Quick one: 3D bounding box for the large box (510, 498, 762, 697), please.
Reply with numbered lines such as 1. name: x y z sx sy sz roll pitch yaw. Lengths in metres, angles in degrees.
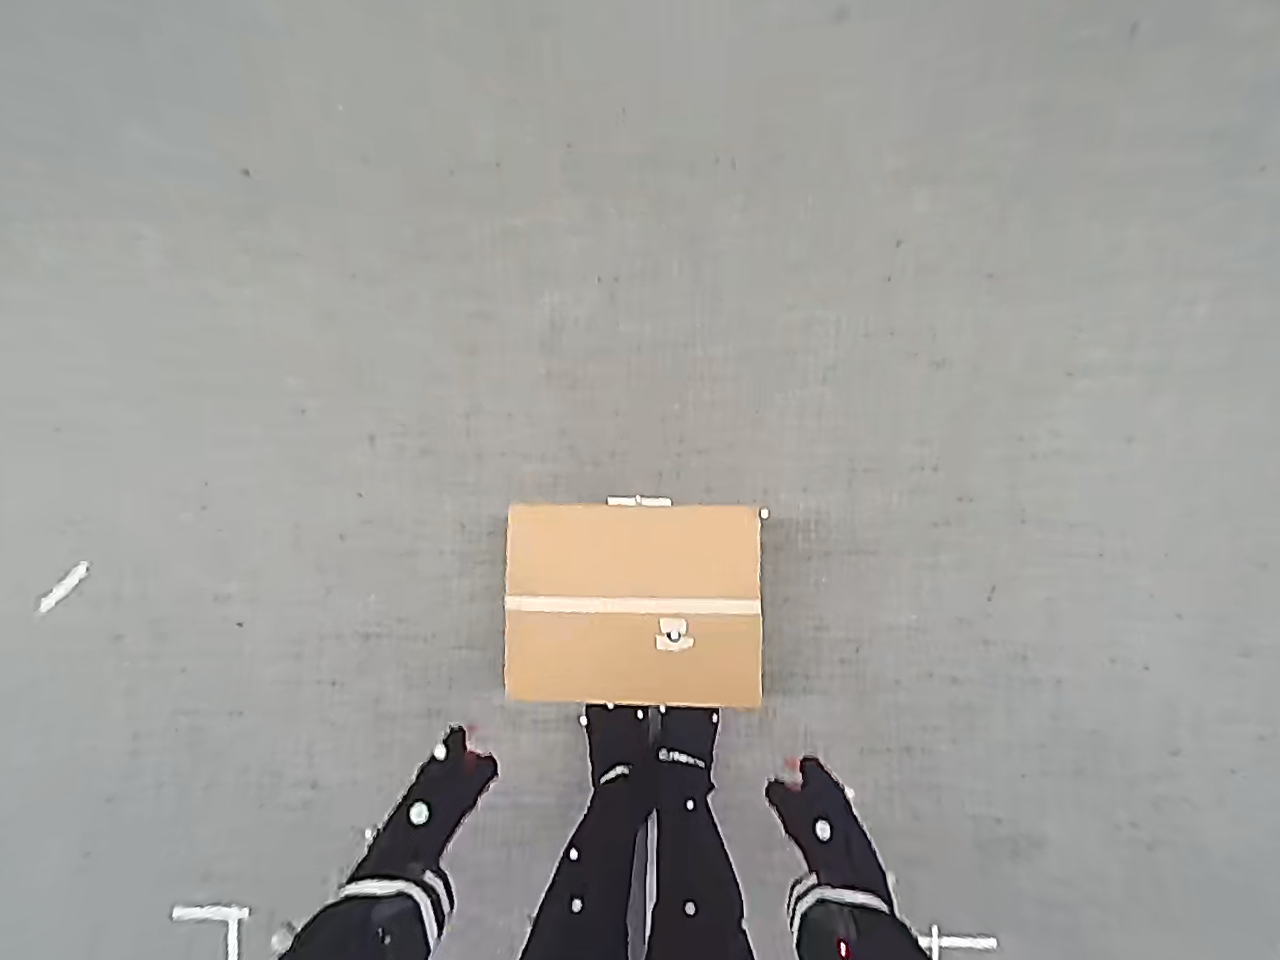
1. large box: -0.005 0.196 1.005 0.408 0.320 0.320 1 87 2
